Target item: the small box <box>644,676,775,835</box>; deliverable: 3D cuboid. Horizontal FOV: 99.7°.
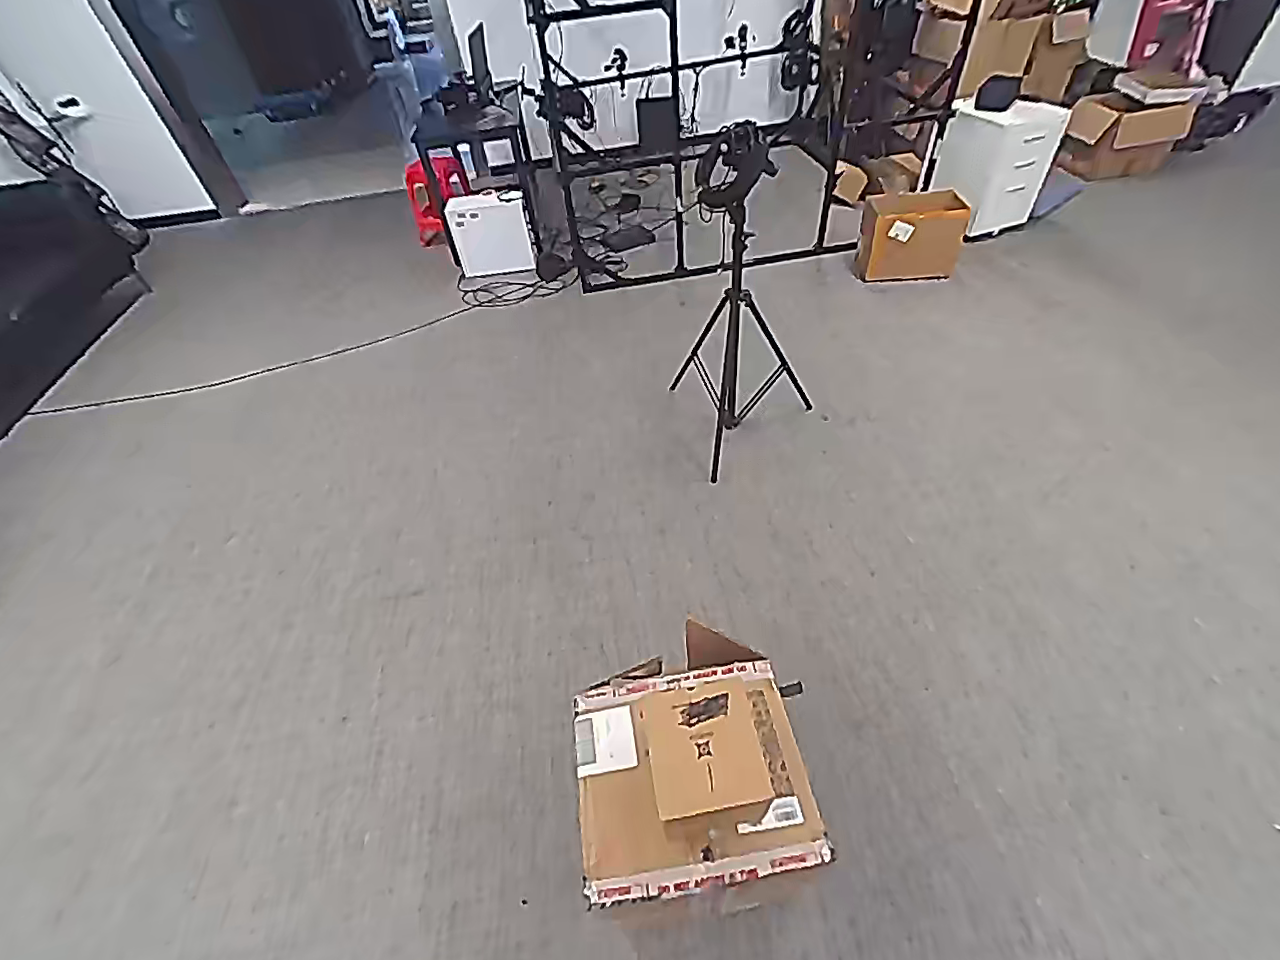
[{"bbox_3d":[0.101,0.441,0.864,0.168,0.176,0.179,-10,50,-2],"label":"small box"}]
